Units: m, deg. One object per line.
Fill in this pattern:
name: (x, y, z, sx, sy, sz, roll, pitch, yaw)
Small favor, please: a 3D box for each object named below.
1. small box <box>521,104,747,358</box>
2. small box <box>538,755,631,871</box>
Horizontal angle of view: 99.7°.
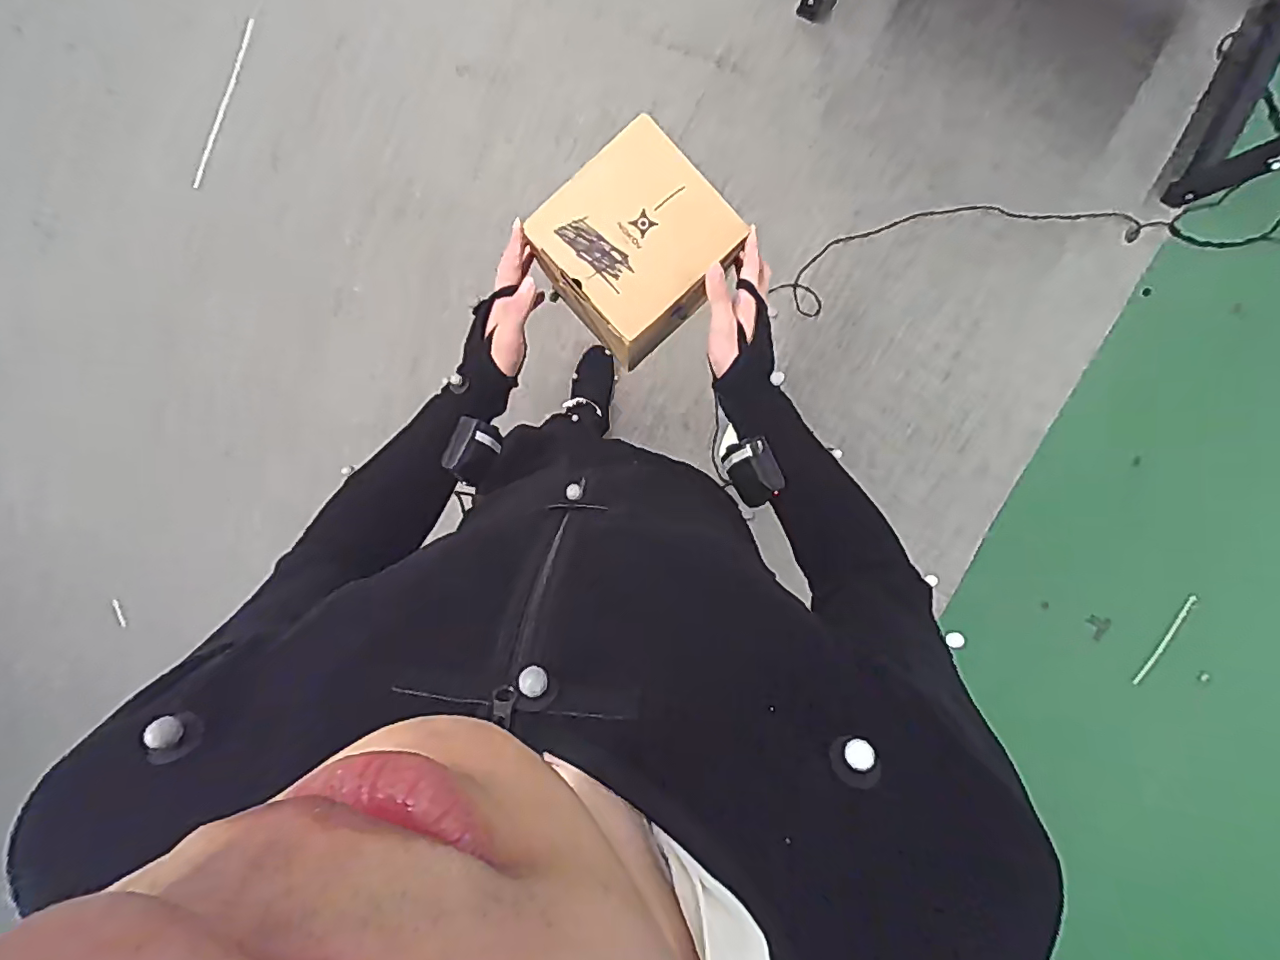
small box: (-0.006, -0.267, 0.629, 0.179, 0.176, 0.168, -42, 92, 0)
small box: (-0.142, 0.873, 1.441, 0.179, 0.176, 0.168, 37, 98, -3)
